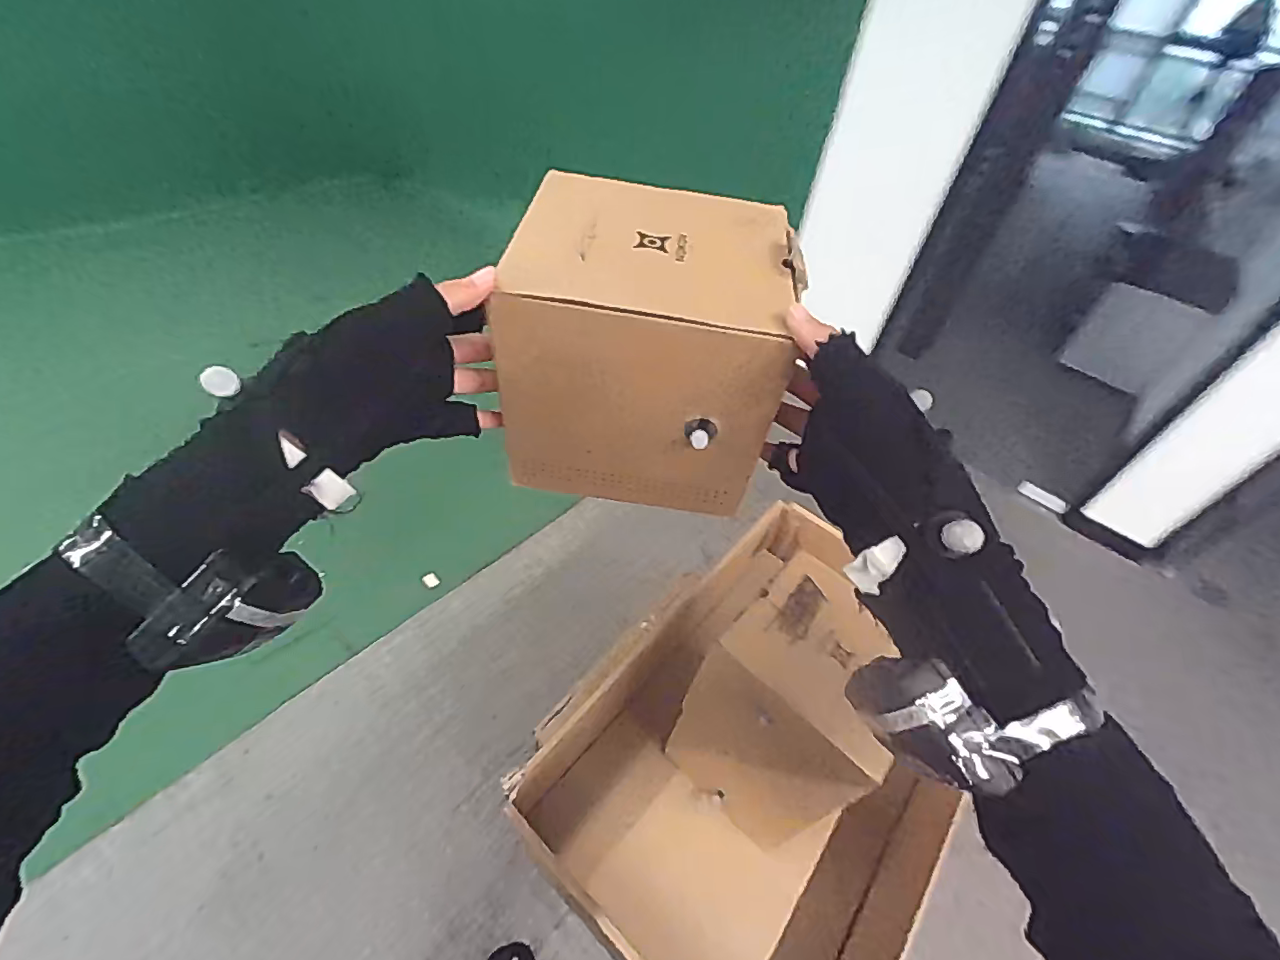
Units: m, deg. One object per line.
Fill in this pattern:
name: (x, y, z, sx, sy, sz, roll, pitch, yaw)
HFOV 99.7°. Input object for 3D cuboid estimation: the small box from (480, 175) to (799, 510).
small box: (0.000, -0.095, 0.400, 0.179, 0.176, 0.168, 7, 49, 0)

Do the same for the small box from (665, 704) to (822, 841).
small box: (0.157, 0.329, 0.700, 0.179, 0.176, 0.168, 37, 51, 22)

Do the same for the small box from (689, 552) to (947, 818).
small box: (0.175, 0.219, 0.579, 0.179, 0.176, 0.168, 39, 52, 24)
